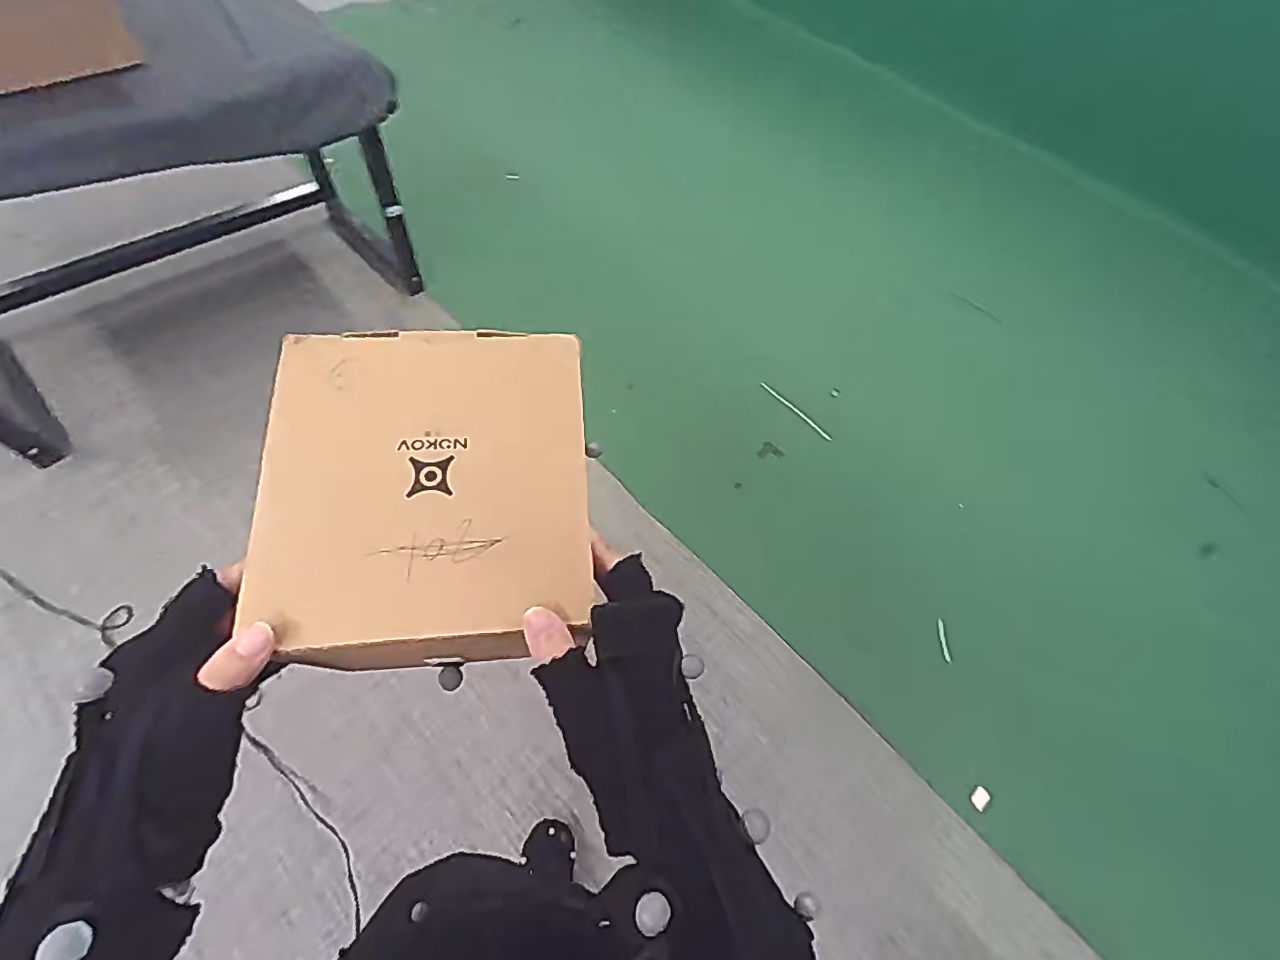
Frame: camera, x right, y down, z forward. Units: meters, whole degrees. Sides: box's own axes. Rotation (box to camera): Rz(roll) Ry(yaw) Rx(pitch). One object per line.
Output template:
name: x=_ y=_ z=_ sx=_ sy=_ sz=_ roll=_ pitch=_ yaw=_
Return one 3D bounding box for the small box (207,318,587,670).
small box: x=-0.125 y=0.019 z=0.348 sx=0.168 sy=0.176 sz=0.179 roll=-3 pitch=68 yaw=-9
